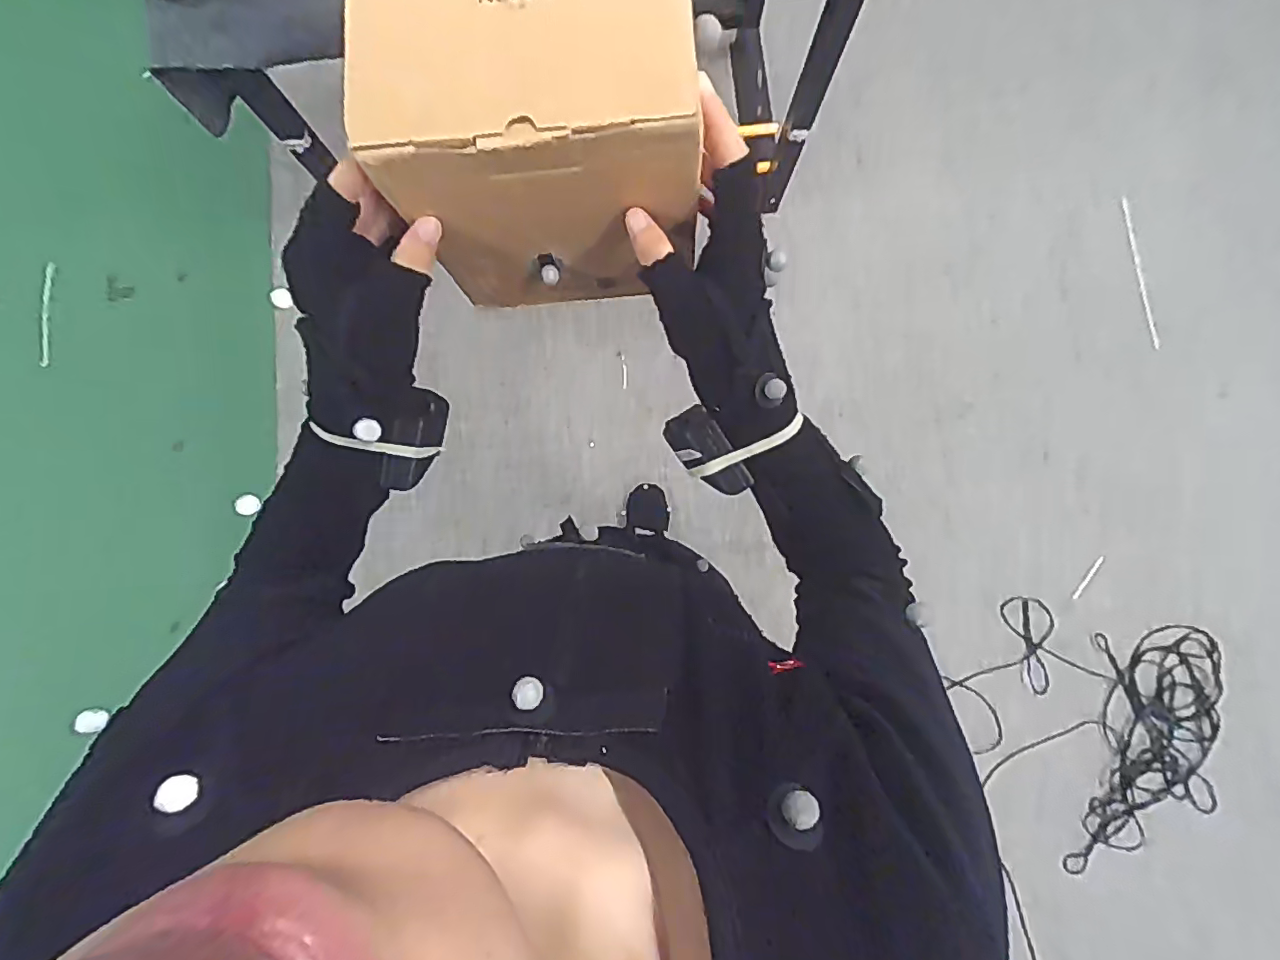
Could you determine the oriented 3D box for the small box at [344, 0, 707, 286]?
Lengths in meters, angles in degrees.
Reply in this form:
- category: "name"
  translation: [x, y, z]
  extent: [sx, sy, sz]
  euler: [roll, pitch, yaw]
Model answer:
- category: "small box"
  translation: [-0.052, -0.243, 0.330]
  extent: [0.168, 0.176, 0.179]
  euler: [-4, 84, 3]
